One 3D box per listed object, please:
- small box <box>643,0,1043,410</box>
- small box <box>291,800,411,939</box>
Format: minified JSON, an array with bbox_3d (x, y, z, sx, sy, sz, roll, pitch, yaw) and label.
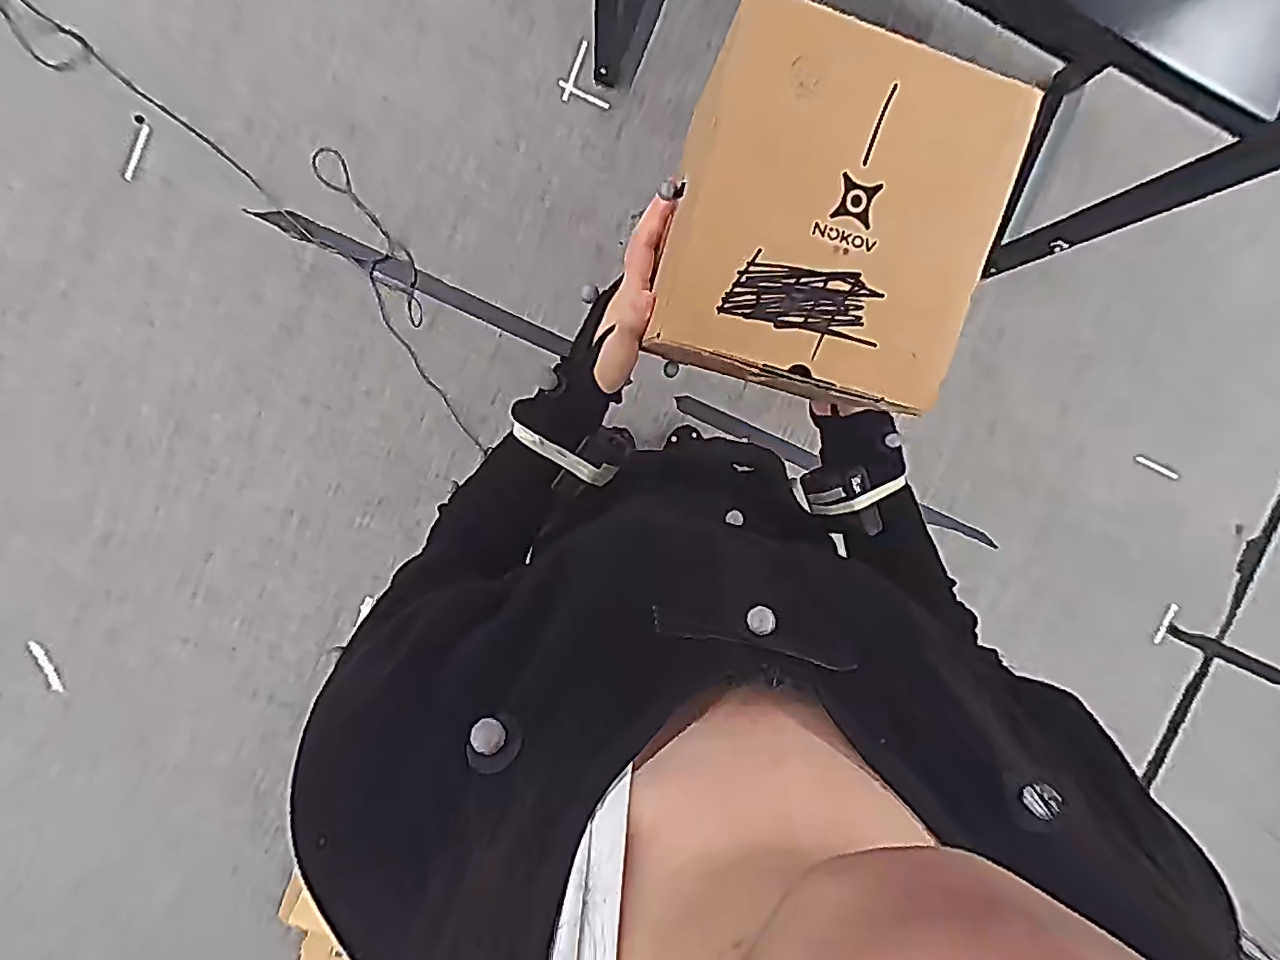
[{"bbox_3d":[0.103,-0.157,0.361,0.168,0.176,0.179,14,100,-8],"label":"small box"},{"bbox_3d":[-0.669,0.909,1.275,0.168,0.176,0.179,25,92,-7],"label":"small box"}]
